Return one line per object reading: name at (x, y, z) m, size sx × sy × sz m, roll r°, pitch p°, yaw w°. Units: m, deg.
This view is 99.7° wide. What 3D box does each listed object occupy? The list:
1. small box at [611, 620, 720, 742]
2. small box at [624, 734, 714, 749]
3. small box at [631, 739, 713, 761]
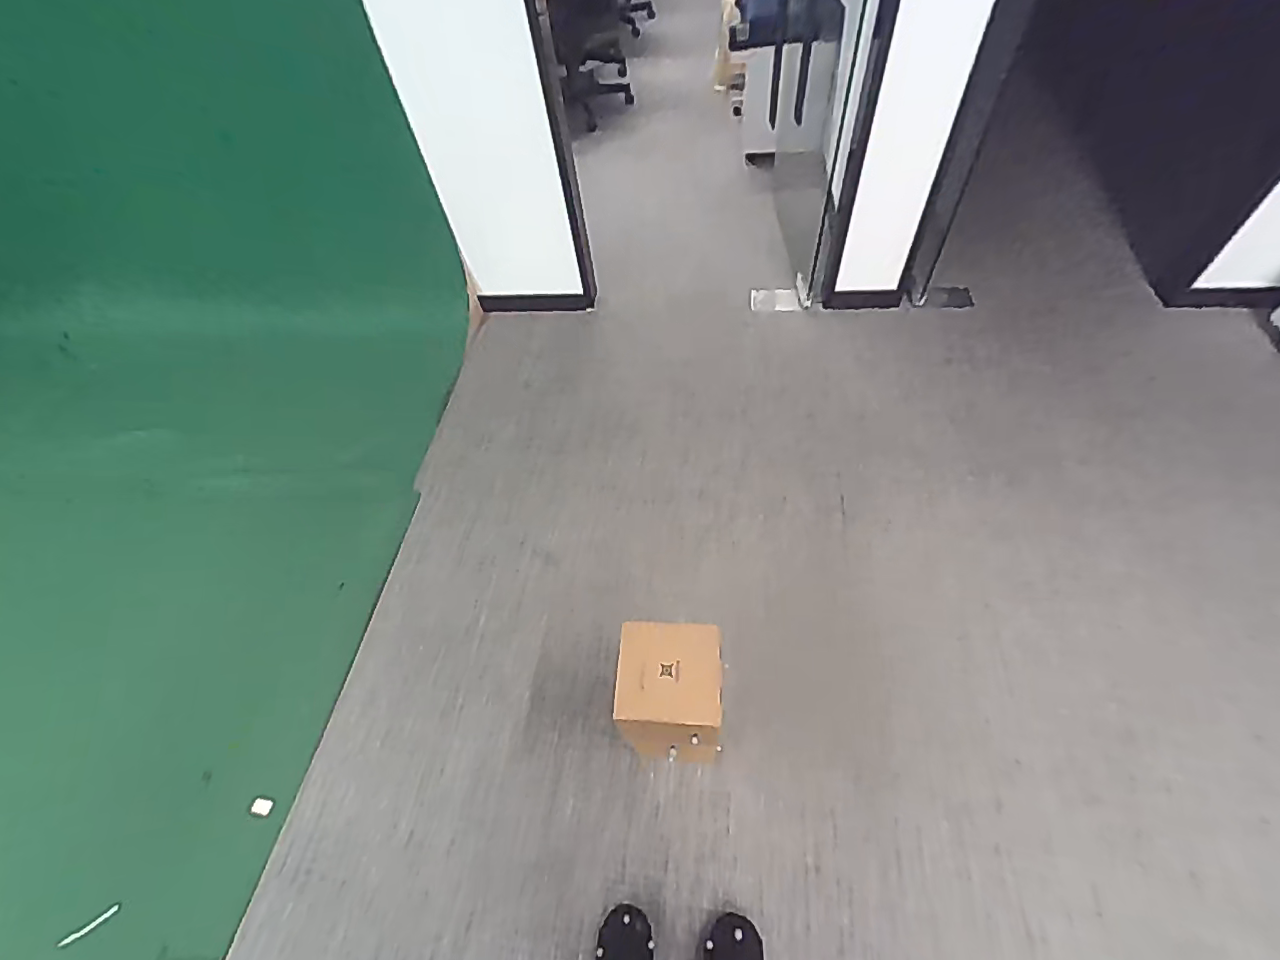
small box at (0.053, 0.364, 0.969) m, size 0.179 × 0.176 × 0.168 m, roll 0°, pitch 53°, yaw 8°
small box at (0.062, 0.447, 1.110) m, size 0.179 × 0.176 × 0.168 m, roll 0°, pitch 55°, yaw 6°
small box at (0.080, 0.538, 1.244) m, size 0.179 × 0.176 × 0.168 m, roll 2°, pitch 55°, yaw 8°
